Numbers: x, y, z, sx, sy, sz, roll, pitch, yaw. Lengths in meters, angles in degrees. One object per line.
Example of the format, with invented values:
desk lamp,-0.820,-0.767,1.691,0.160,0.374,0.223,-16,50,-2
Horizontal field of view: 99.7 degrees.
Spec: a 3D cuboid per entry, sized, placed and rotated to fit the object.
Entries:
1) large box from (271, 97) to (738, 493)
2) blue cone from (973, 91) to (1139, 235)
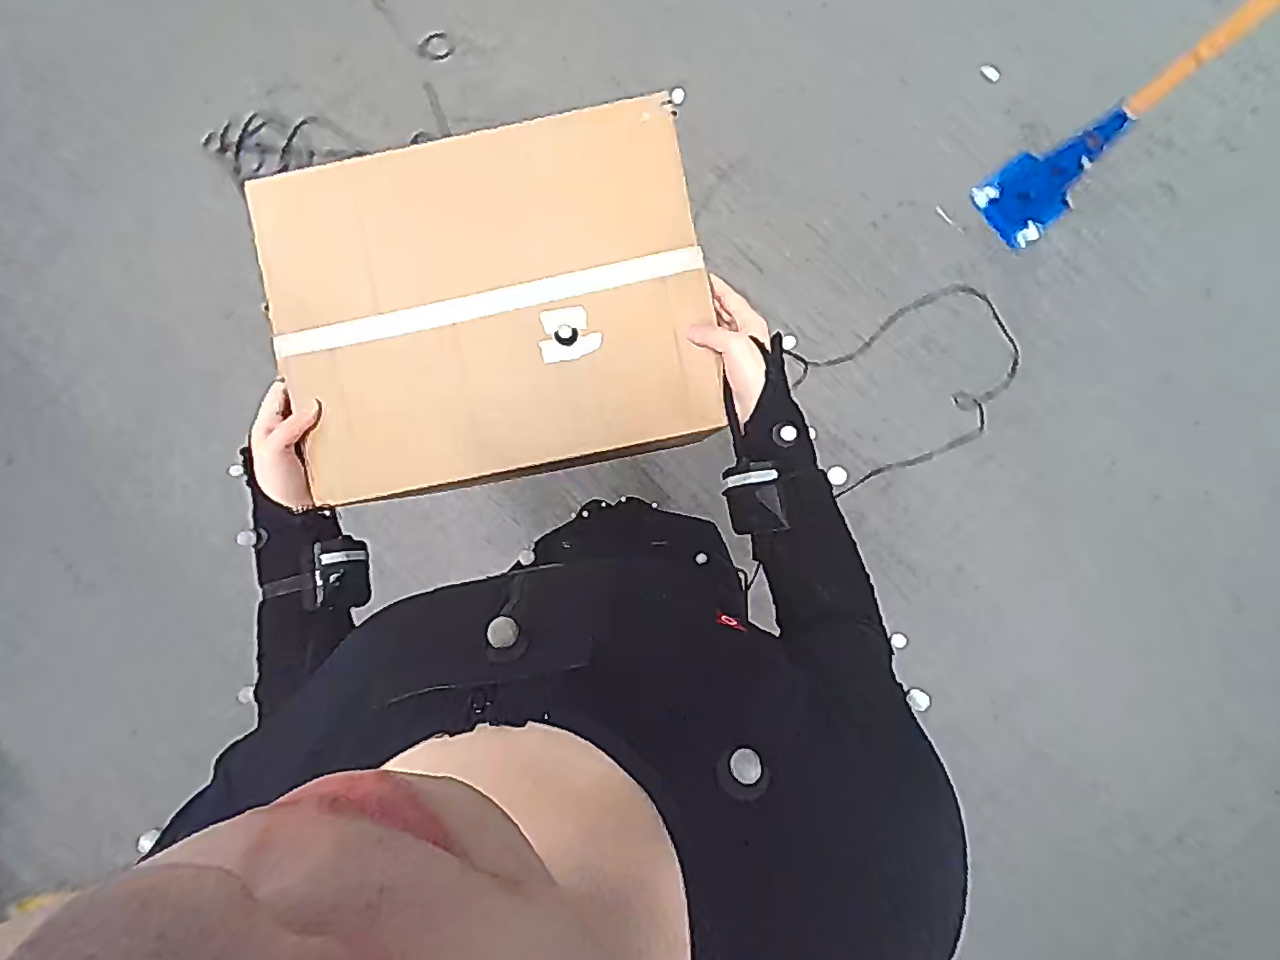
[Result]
large box,-0.129,-0.176,0.659,0.408,0.320,0.320,-10,92,0
blue cone,1.013,-0.778,1.301,0.192,0.380,0.193,-37,88,1
